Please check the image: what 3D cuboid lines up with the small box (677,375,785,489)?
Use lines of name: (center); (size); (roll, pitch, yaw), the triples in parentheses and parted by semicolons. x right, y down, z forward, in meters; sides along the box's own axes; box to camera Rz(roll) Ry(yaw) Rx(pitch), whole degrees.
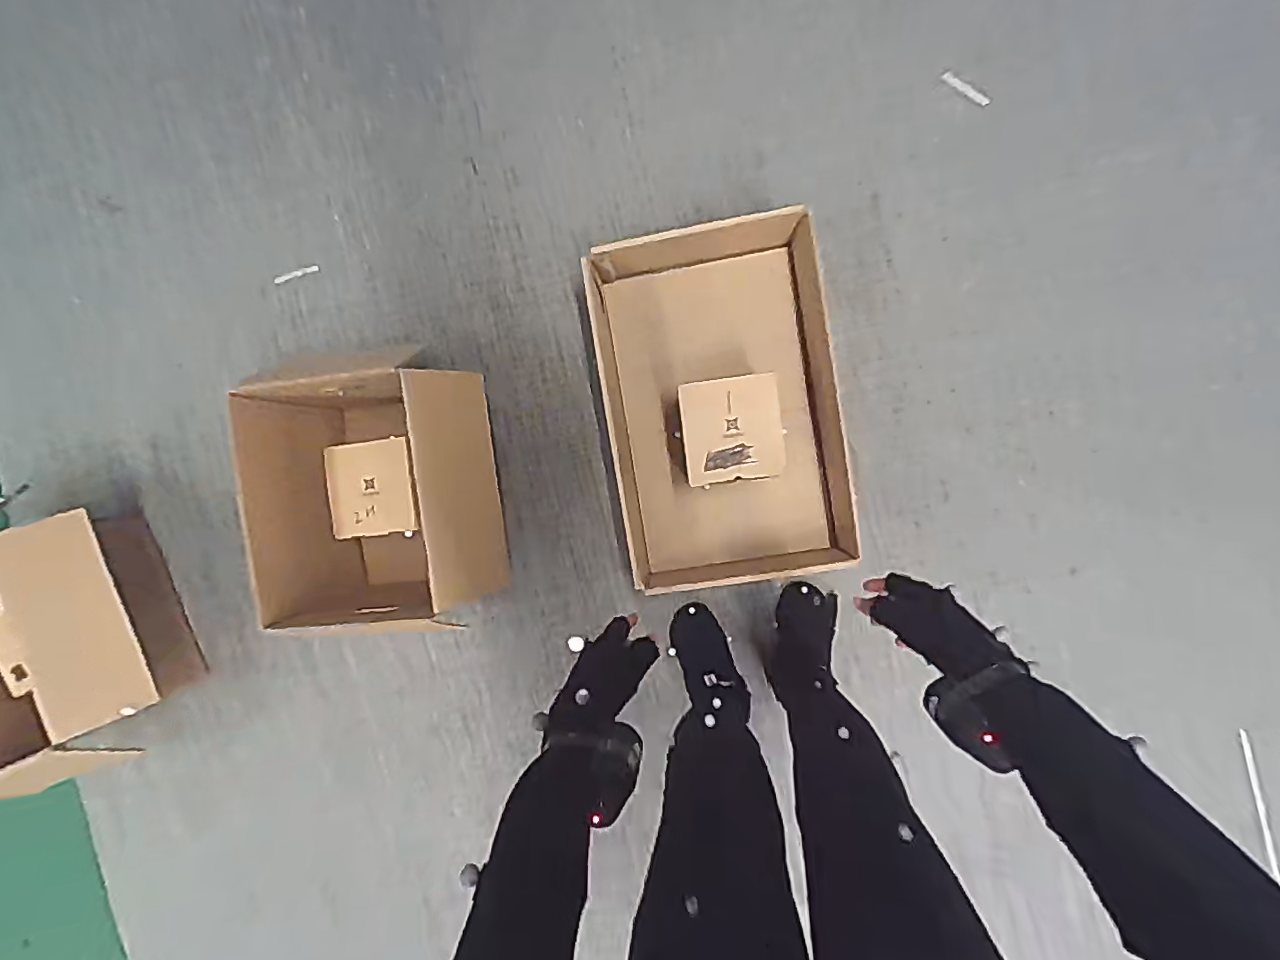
small box: (0.161, -0.082, 0.978); (0.168, 0.176, 0.179); (-7, 90, 6)
